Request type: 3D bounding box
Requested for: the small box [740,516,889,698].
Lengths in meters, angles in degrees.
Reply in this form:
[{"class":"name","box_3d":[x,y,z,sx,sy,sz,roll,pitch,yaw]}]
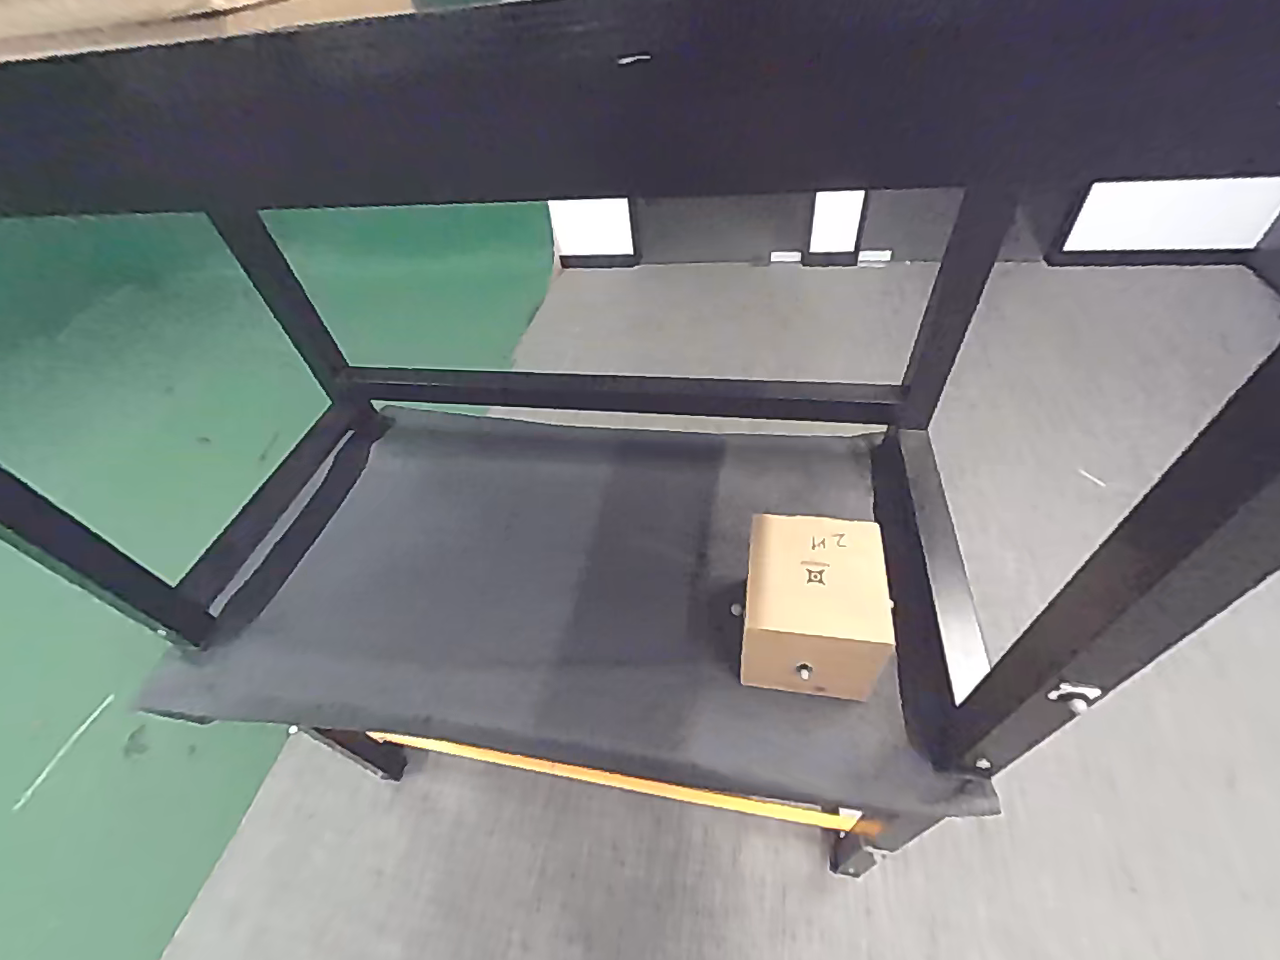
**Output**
[{"class":"small box","box_3d":[0.225,0.173,0.731,0.168,0.176,0.179,4,47,11]}]
